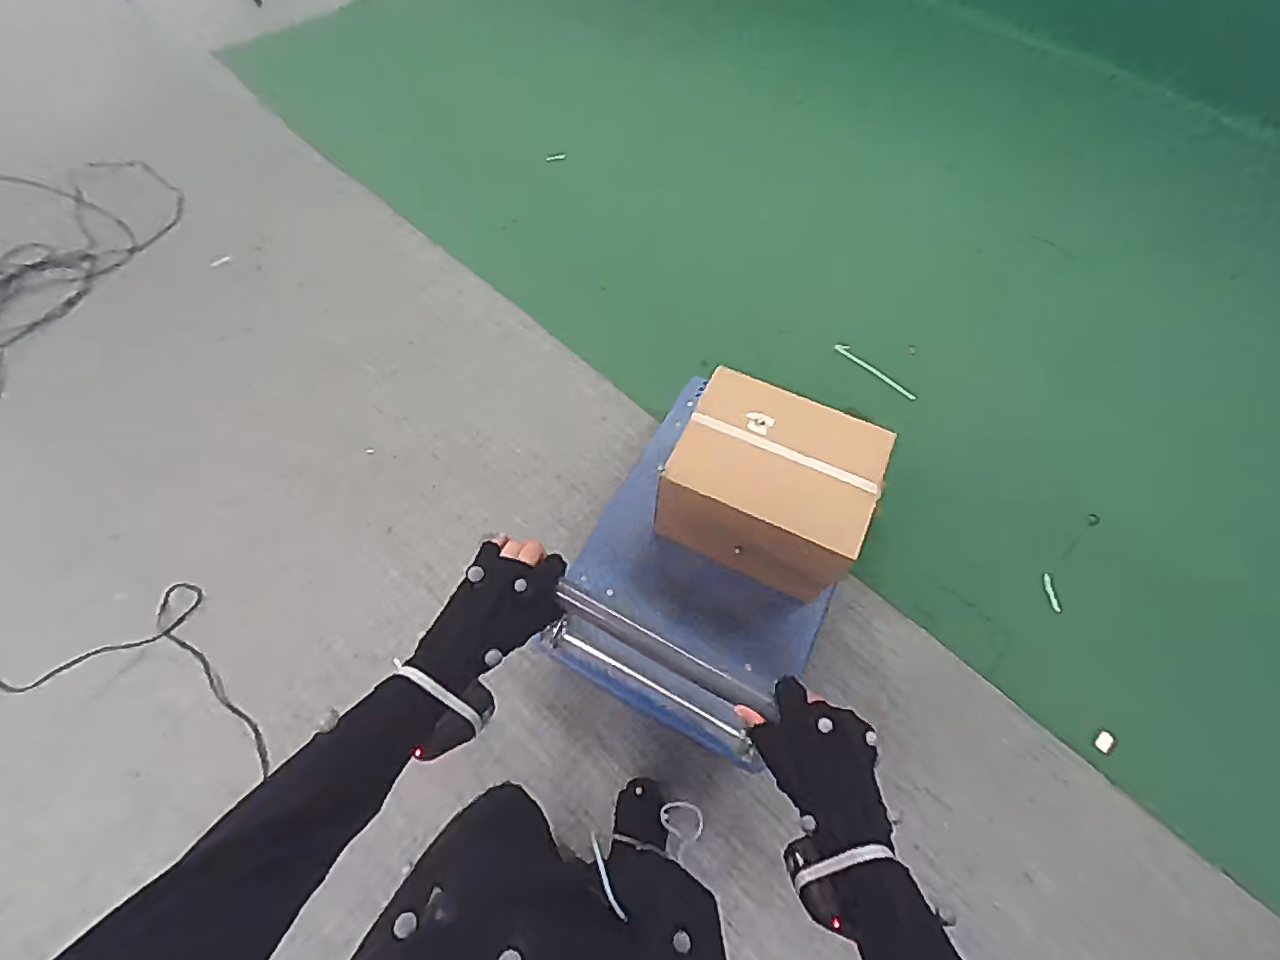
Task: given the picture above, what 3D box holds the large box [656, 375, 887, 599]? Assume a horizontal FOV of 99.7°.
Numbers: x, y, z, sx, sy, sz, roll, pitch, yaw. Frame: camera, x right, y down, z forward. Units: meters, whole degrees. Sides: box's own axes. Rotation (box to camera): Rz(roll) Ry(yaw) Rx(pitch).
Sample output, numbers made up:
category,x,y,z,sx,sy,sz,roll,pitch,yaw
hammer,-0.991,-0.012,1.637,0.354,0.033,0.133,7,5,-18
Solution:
category,x,y,z,sx,sy,sz,roll,pitch,yaw
large box,0.282,0.025,1.244,0.408,0.320,0.320,23,64,11
